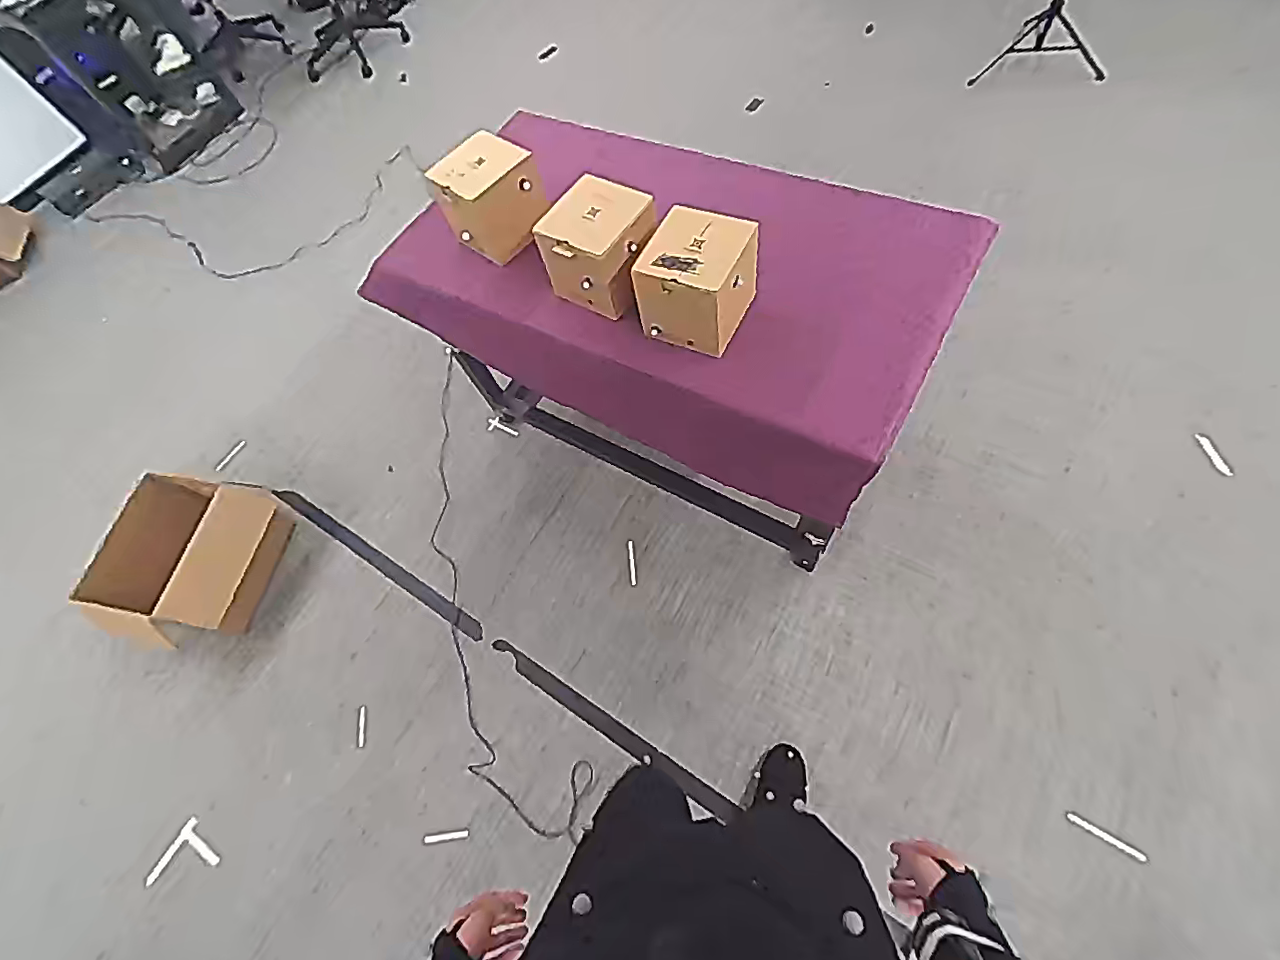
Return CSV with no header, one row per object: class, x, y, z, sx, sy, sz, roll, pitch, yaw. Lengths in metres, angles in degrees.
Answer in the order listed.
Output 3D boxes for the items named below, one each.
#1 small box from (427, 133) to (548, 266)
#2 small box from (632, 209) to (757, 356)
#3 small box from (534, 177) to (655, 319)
small box,-0.323,-0.616,1.196,0.168,0.176,0.179,37,75,23
small box,0.107,-0.360,1.000,0.168,0.176,0.179,23,69,19
small box,-0.076,-0.455,1.079,0.168,0.176,0.179,31,72,21
